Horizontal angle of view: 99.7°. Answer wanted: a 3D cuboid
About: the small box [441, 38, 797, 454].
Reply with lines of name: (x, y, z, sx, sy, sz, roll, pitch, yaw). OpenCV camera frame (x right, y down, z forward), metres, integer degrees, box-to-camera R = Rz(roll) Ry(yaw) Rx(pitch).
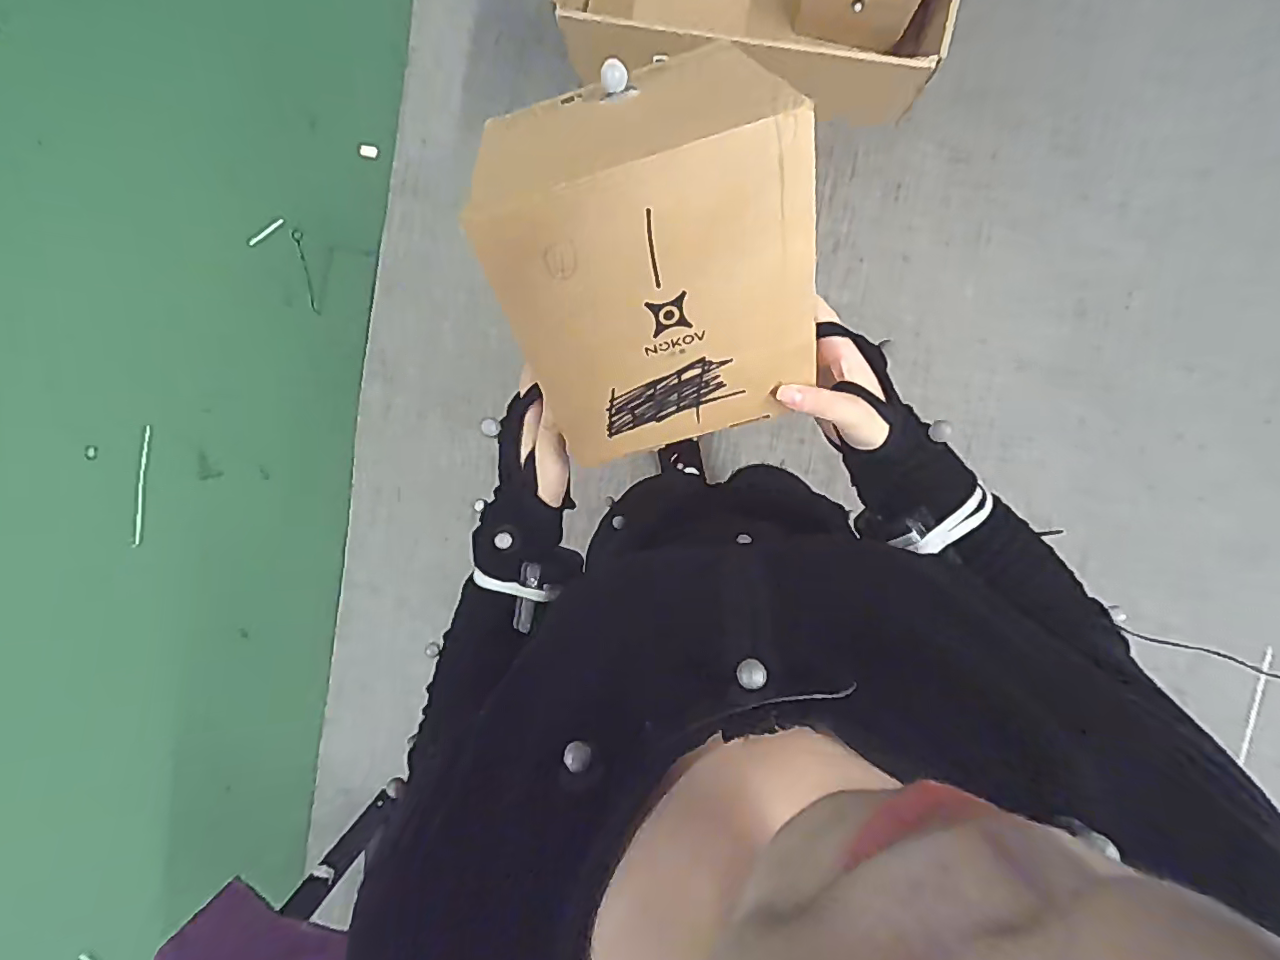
small box: (-0.003, -0.150, 0.355, 0.168, 0.176, 0.179, -15, 136, 5)
